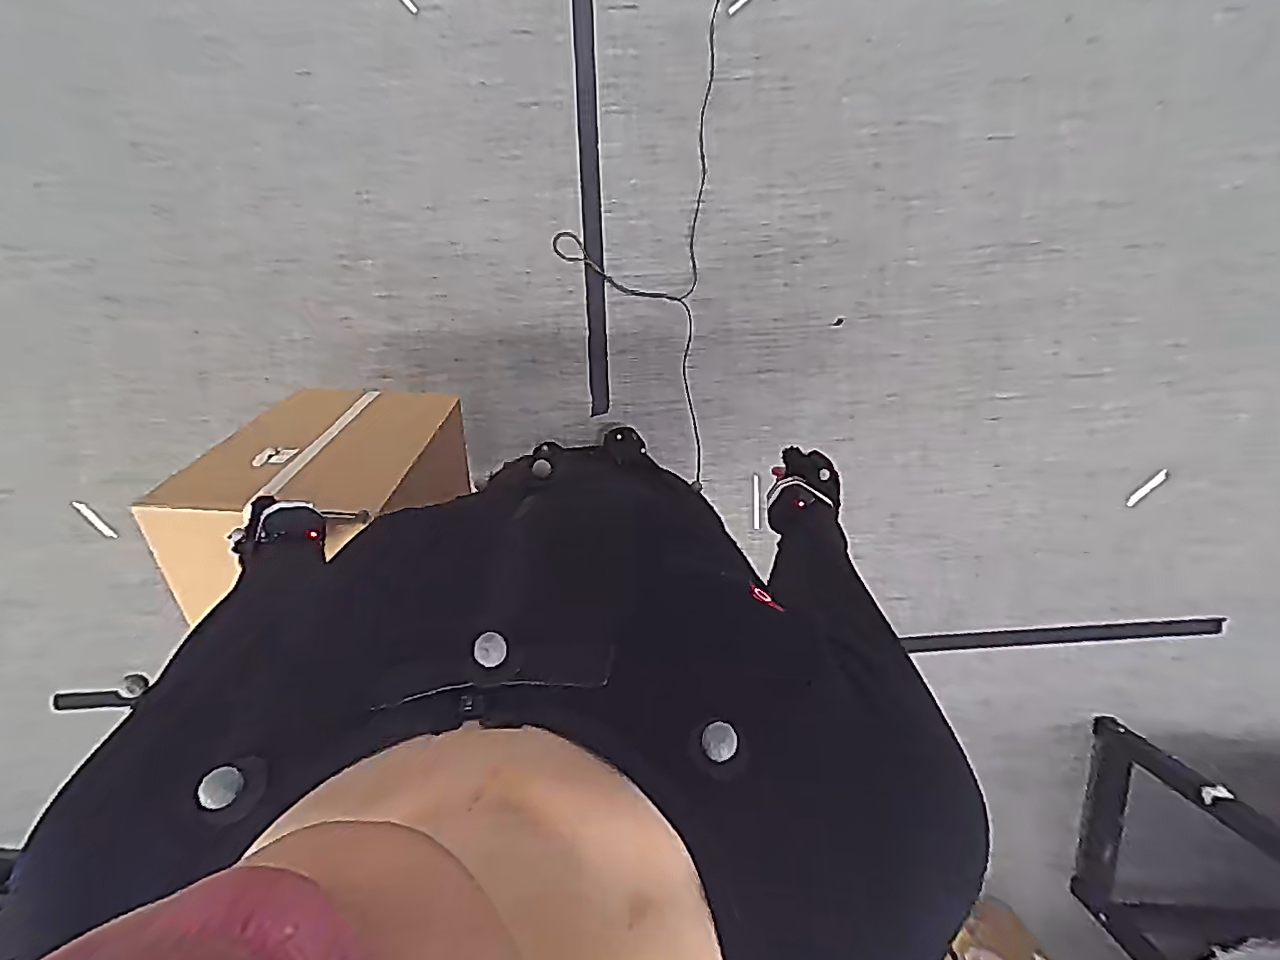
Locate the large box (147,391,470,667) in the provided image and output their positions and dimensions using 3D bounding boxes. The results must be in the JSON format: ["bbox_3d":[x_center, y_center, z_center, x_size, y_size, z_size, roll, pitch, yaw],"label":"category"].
[{"bbox_3d":[-0.515,0.067,0.963,0.320,0.408,0.320,2,122,-1],"label":"large box"}]
